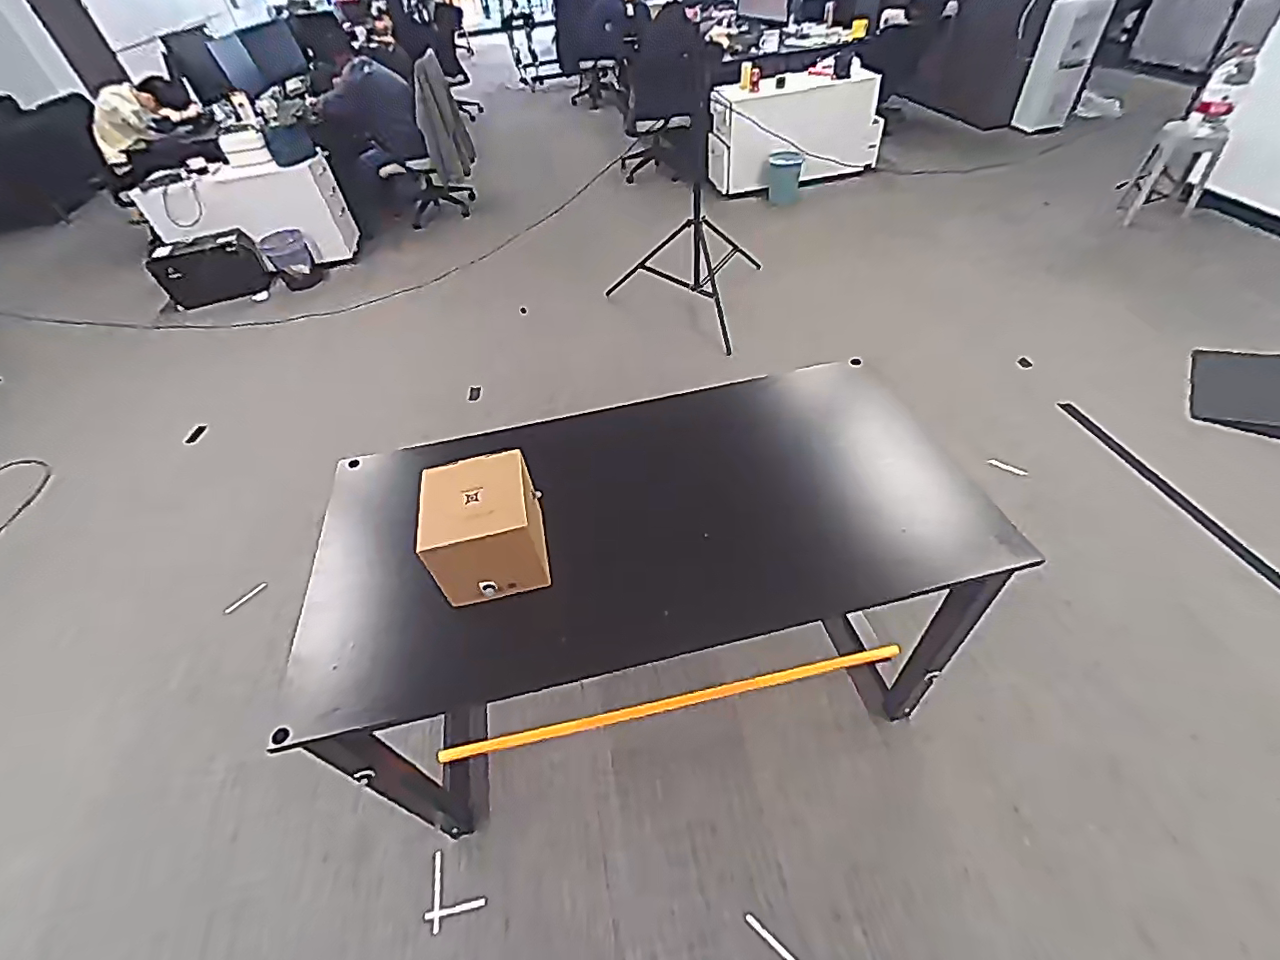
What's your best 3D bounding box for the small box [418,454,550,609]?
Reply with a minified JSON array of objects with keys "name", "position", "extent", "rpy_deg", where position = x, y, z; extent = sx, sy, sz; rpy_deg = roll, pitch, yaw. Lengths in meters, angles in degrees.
[{"name":"small box","position":[-0.257,0.087,0.911],"extent":[0.168,0.176,0.179],"rpy_deg":[-14,47,-5]}]
